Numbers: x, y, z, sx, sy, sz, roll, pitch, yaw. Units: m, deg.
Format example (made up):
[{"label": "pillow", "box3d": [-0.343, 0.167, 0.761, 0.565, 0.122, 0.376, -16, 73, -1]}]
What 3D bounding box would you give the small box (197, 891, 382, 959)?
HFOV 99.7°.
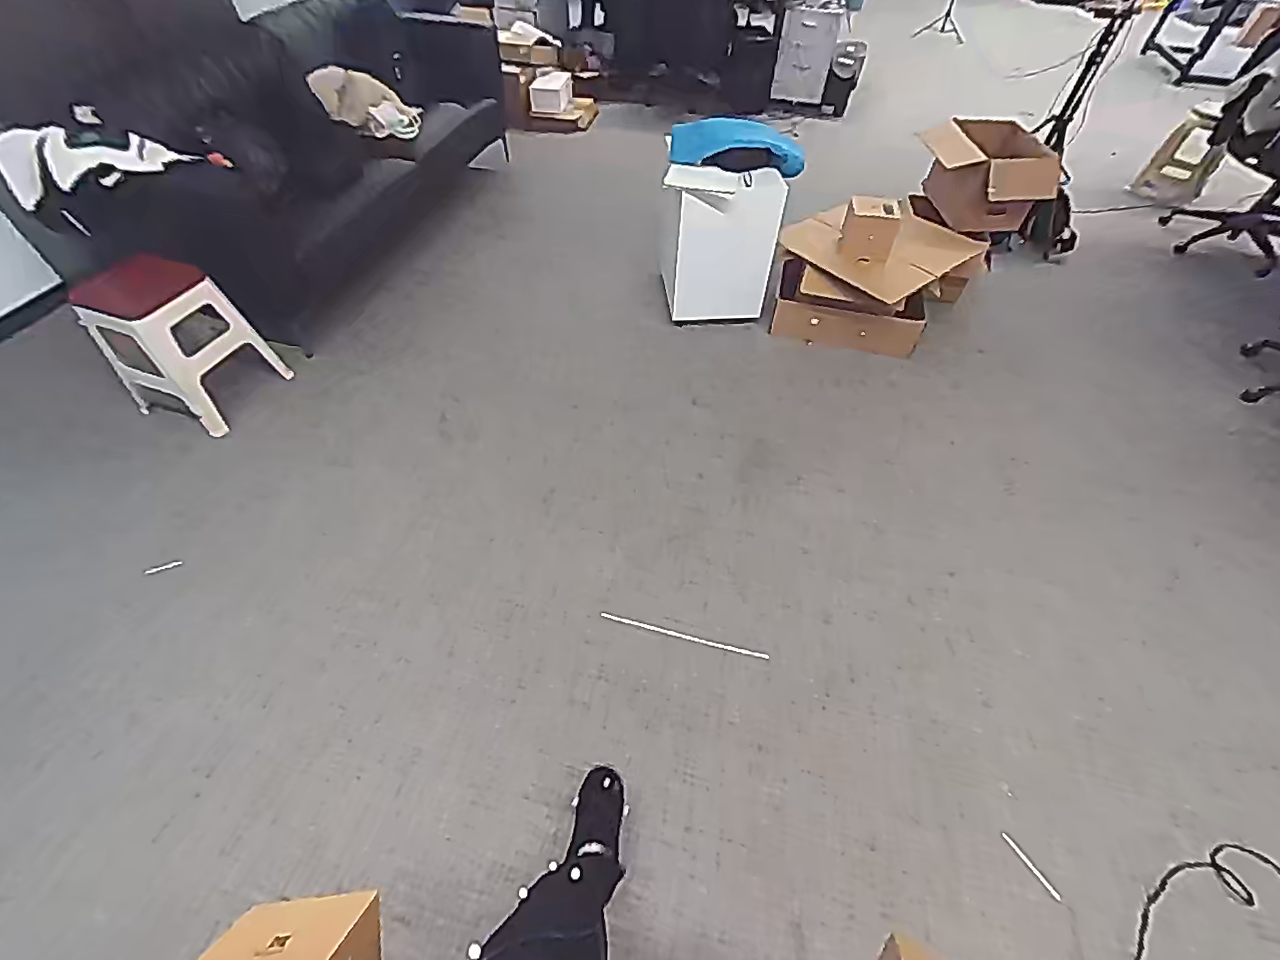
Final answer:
[{"label": "small box", "box3d": [-0.421, 0.629, 0.630, 0.168, 0.179, 0.176, -5, 82, -3]}]
